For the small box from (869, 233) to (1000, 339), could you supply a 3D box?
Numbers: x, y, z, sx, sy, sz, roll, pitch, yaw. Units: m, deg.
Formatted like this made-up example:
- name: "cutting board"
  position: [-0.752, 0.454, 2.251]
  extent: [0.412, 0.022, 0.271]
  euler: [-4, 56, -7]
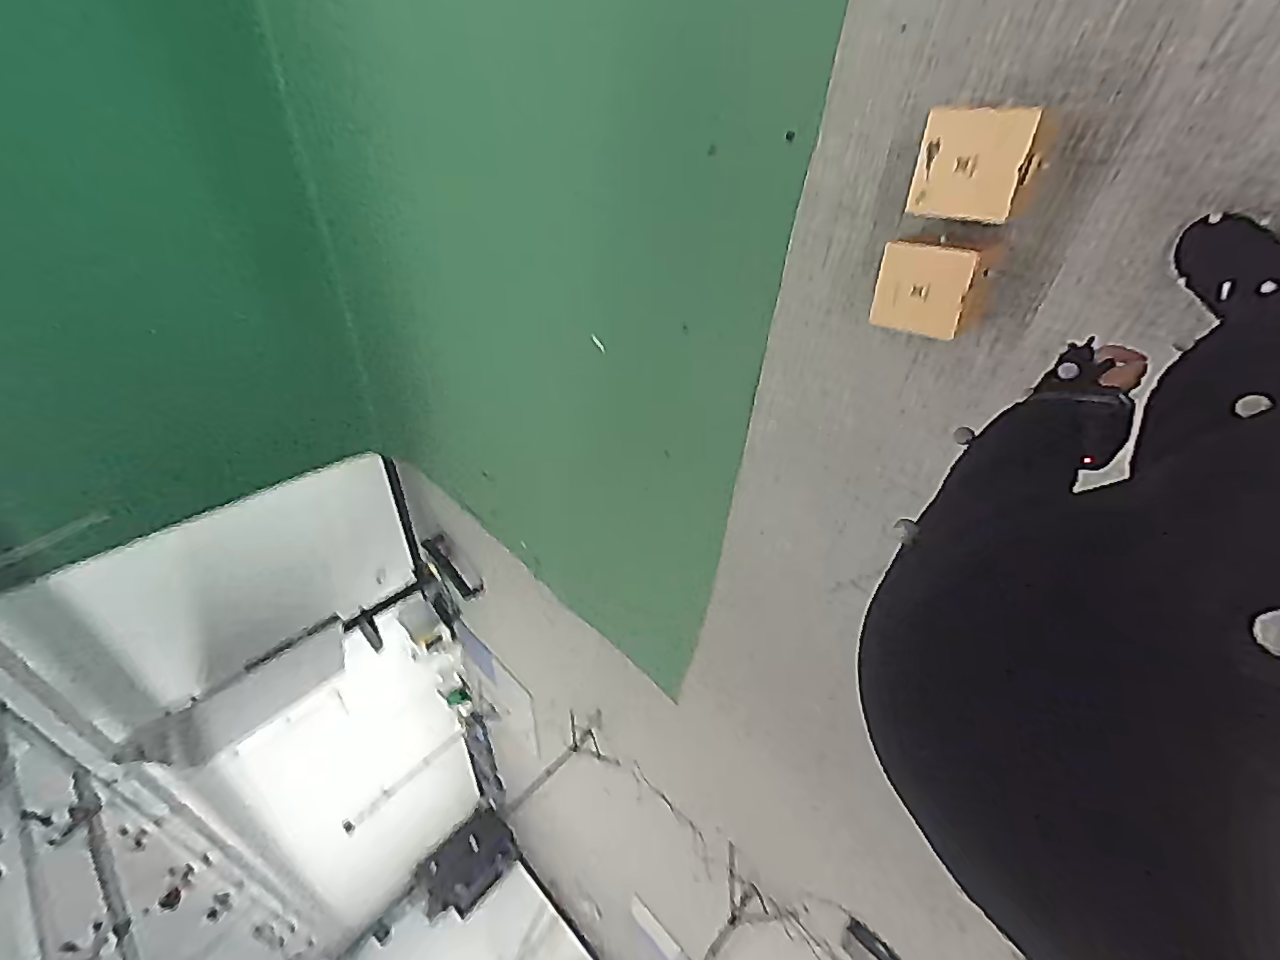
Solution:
- name: "small box"
  position: [0.609, -0.408, 1.119]
  extent: [0.179, 0.176, 0.168]
  euler: [27, 132, 36]
